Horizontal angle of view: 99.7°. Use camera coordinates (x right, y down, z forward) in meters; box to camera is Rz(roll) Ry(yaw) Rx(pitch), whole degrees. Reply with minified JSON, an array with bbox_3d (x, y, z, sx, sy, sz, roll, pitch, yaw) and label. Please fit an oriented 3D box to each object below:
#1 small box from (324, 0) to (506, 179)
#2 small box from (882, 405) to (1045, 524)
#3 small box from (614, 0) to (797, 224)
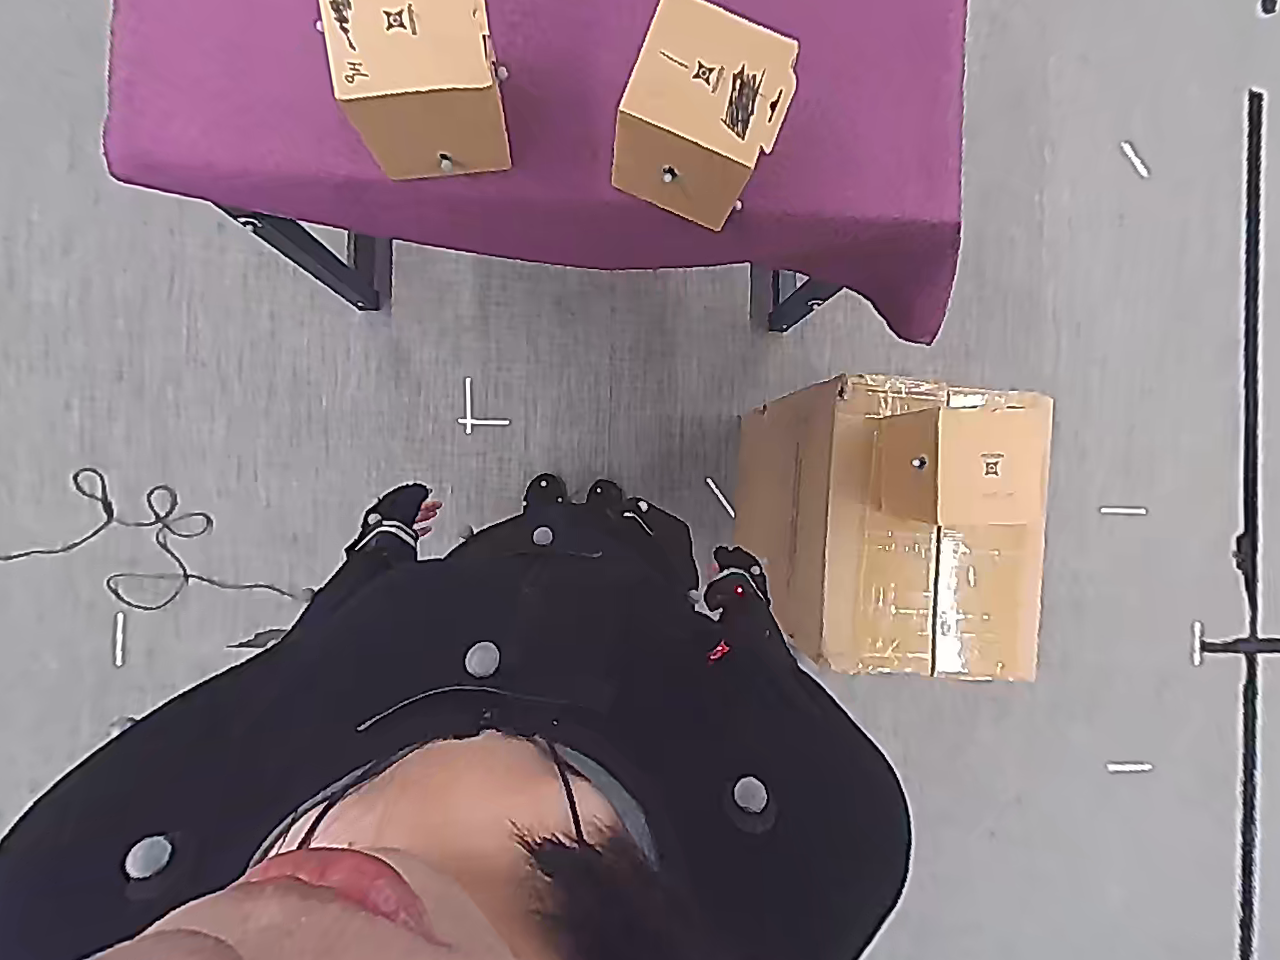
[{"bbox_3d":[-0.272,-0.515,0.690,0.179,0.176,0.168,-9,90,-6],"label":"small box"},{"bbox_3d":[0.508,-0.023,0.870,0.168,0.176,0.179,-1,91,-3],"label":"small box"},{"bbox_3d":[0.075,-0.477,0.724,0.179,0.176,0.168,21,87,-4],"label":"small box"}]
